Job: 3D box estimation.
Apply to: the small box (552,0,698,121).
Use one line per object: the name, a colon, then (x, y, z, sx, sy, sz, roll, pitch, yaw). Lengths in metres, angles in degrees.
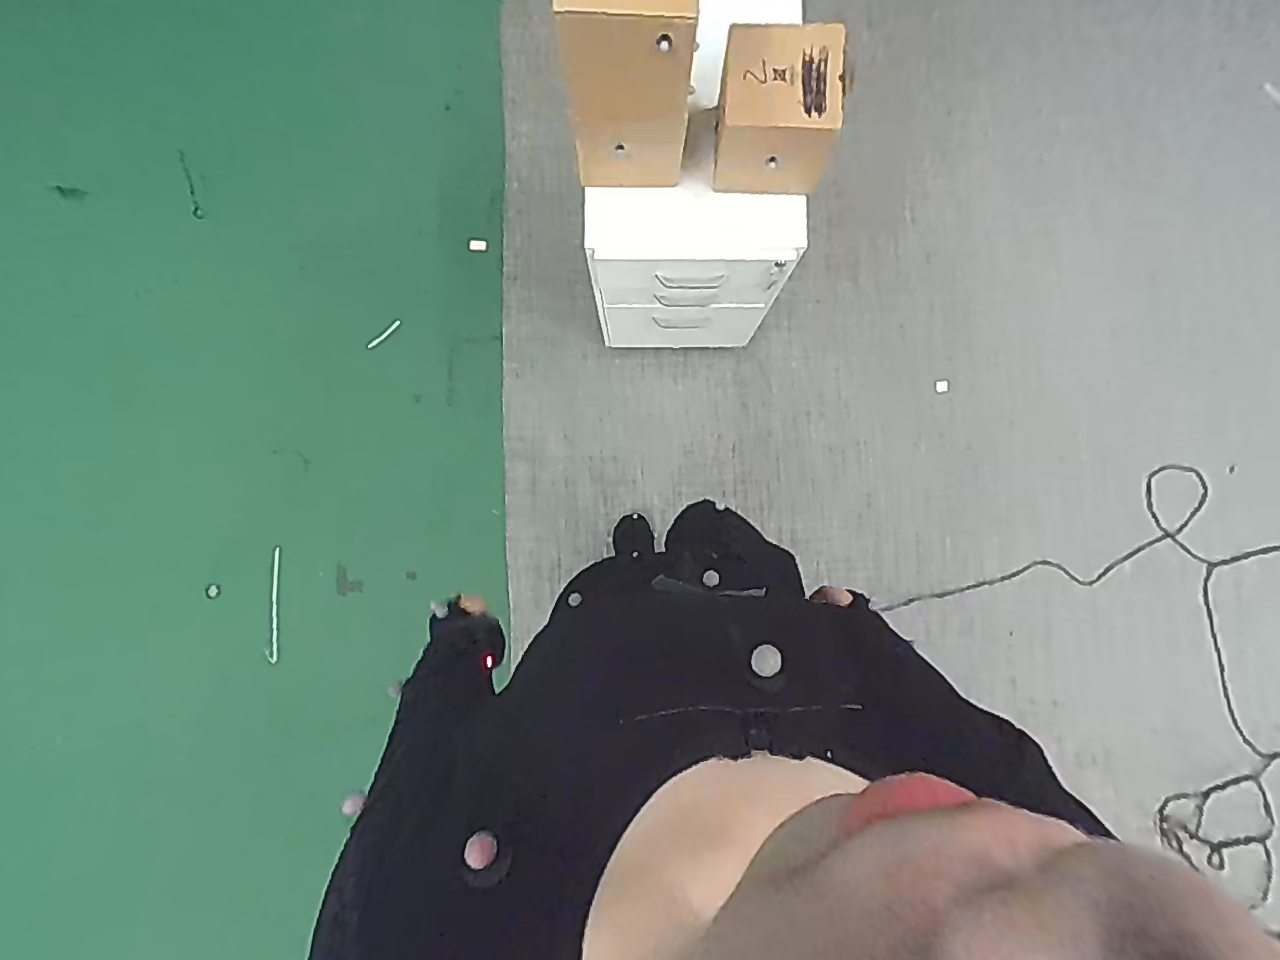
small box: (-0.018, -0.621, 0.729, 0.179, 0.176, 0.168, 1, 85, -2)

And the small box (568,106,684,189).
small box: (-0.020, -0.606, 0.892, 0.179, 0.176, 0.168, -1, 86, -1)
